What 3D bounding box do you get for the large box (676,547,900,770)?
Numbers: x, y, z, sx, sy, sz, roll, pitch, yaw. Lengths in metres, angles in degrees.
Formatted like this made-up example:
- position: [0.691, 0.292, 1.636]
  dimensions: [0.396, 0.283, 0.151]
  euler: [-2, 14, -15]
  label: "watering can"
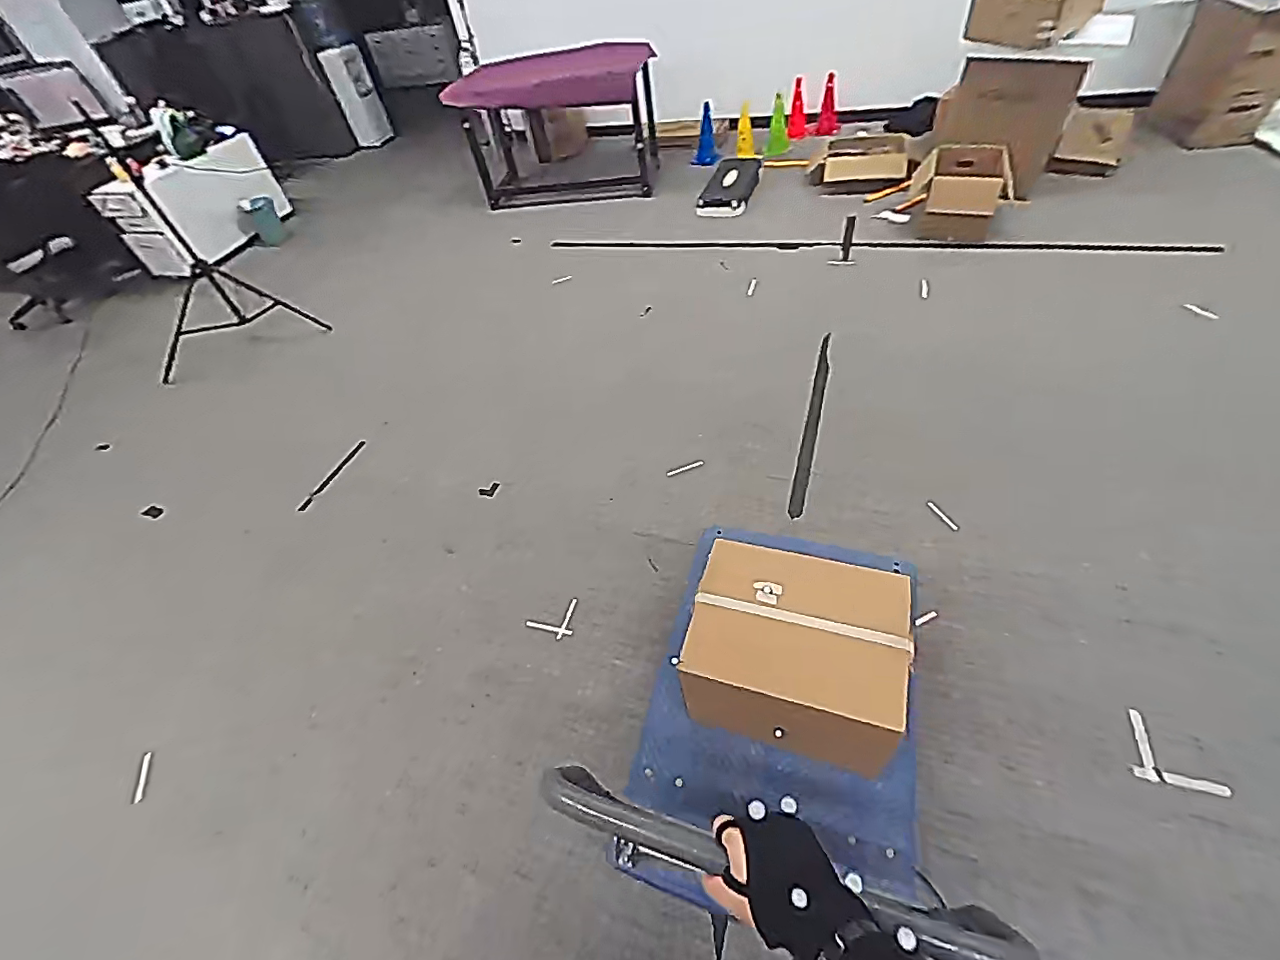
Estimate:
- position: [0.325, 0.385, 1.182]
  dimensions: [0.408, 0.320, 0.320]
  euler: [8, 50, 19]
  label: "large box"
